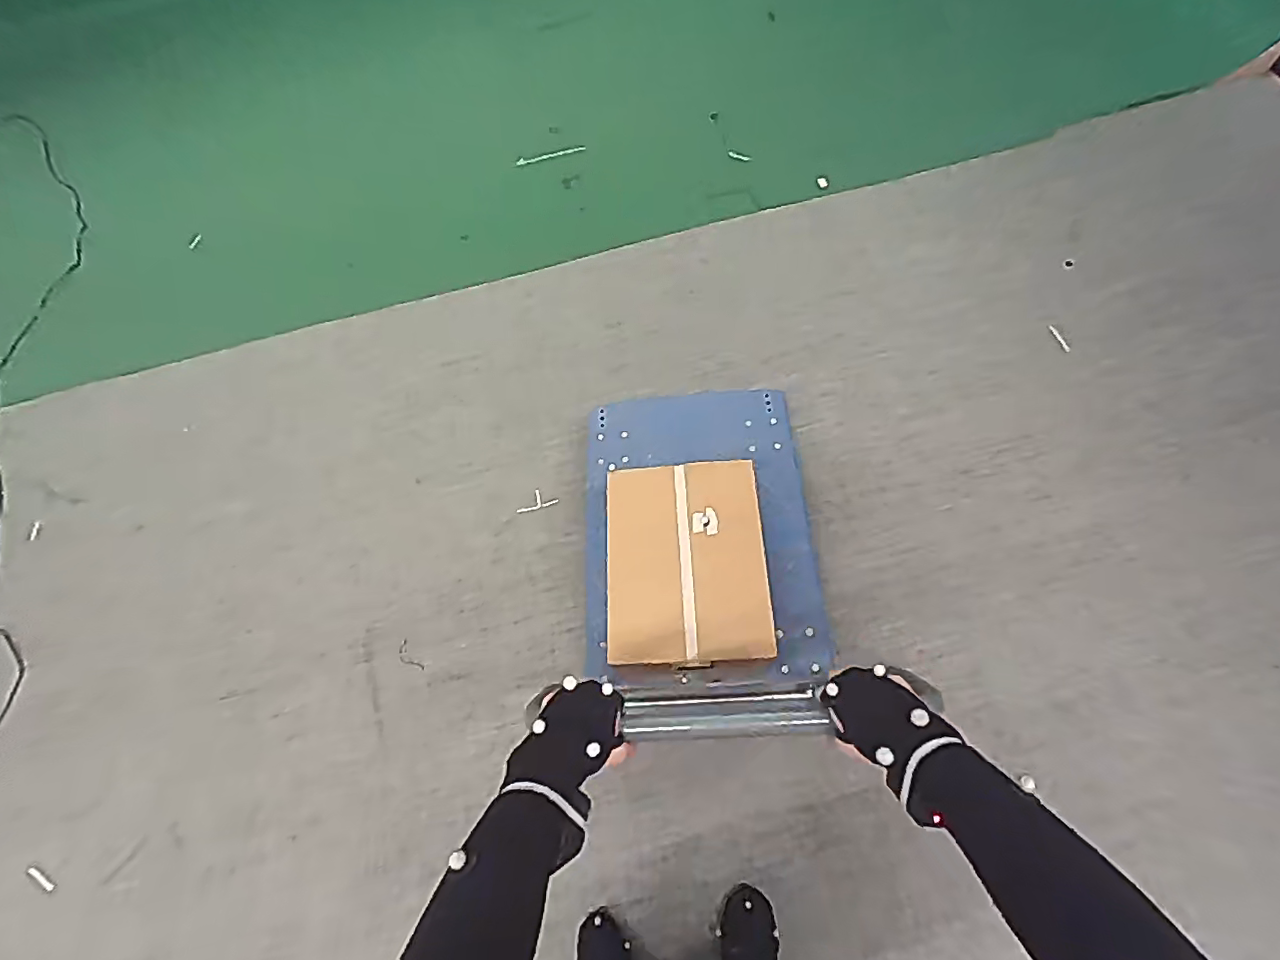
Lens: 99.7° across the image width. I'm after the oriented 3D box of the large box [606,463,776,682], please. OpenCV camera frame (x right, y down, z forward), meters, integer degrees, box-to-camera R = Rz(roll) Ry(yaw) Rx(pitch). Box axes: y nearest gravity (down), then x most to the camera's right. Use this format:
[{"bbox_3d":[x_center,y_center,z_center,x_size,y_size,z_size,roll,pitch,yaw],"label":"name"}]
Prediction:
[{"bbox_3d":[0.104,0.218,1.213,0.320,0.320,0.408,-4,64,4],"label":"large box"}]
